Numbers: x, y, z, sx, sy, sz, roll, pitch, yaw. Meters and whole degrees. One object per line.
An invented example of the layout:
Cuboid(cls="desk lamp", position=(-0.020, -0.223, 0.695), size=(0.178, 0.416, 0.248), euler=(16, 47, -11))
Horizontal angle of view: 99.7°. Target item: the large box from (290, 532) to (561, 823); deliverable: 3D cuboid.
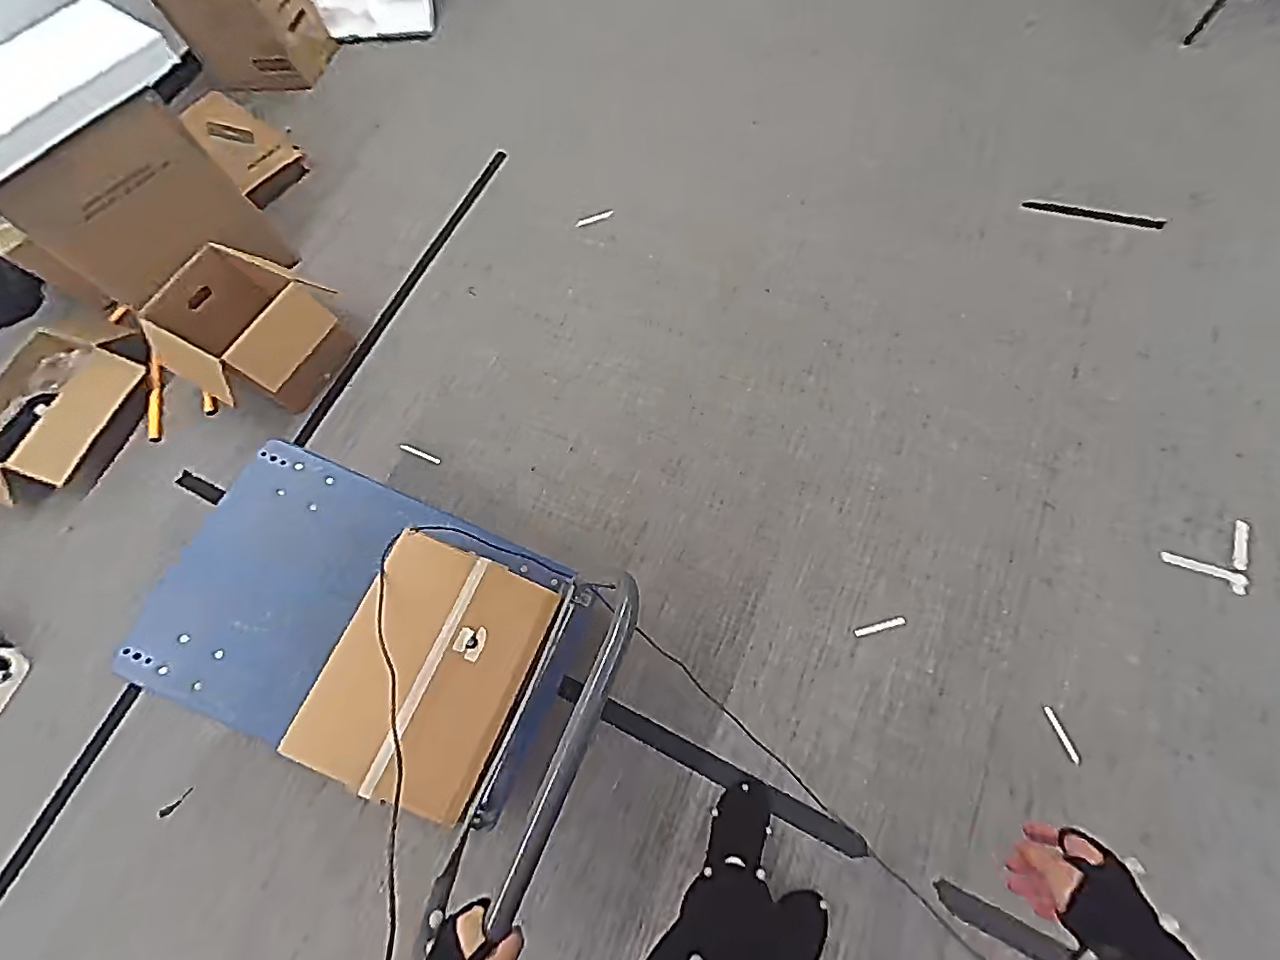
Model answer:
Cuboid(cls="large box", position=(-0.376, 0.370, 1.072), size=(0.320, 0.320, 0.408), euler=(24, 72, -2))
